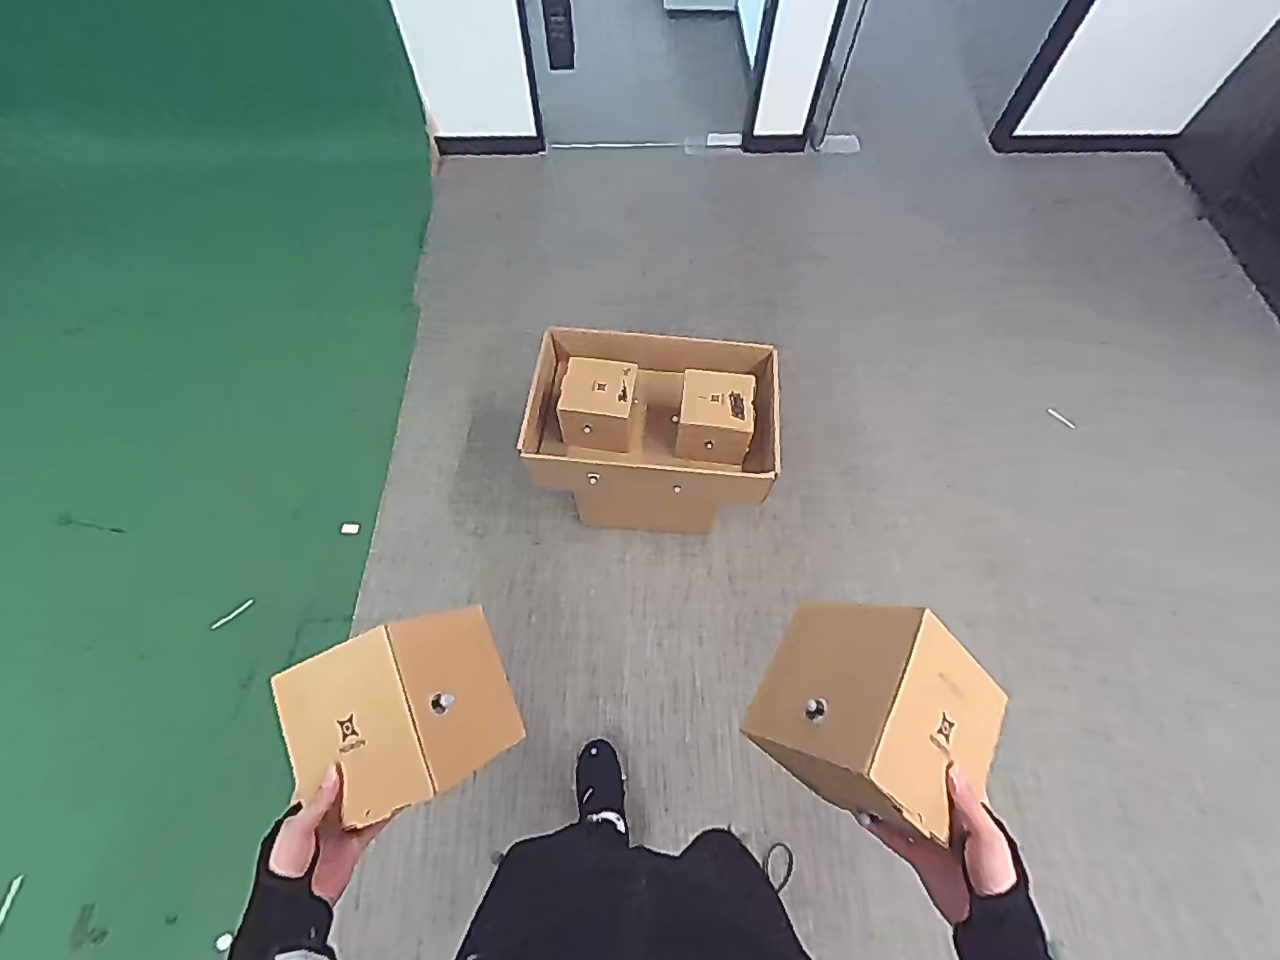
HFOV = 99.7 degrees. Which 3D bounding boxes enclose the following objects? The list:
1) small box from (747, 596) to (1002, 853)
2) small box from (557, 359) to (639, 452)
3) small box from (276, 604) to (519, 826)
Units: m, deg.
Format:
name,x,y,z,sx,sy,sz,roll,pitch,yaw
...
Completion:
name,x,y,z,sx,sy,sz,roll,pitch,yaw
small box,0.244,0.244,0.585,0.168,0.176,0.179,45,62,-16
small box,-0.100,-0.186,1.387,0.179,0.176,0.168,7,63,4
small box,-0.271,0.254,0.631,0.168,0.176,0.179,-26,78,14
